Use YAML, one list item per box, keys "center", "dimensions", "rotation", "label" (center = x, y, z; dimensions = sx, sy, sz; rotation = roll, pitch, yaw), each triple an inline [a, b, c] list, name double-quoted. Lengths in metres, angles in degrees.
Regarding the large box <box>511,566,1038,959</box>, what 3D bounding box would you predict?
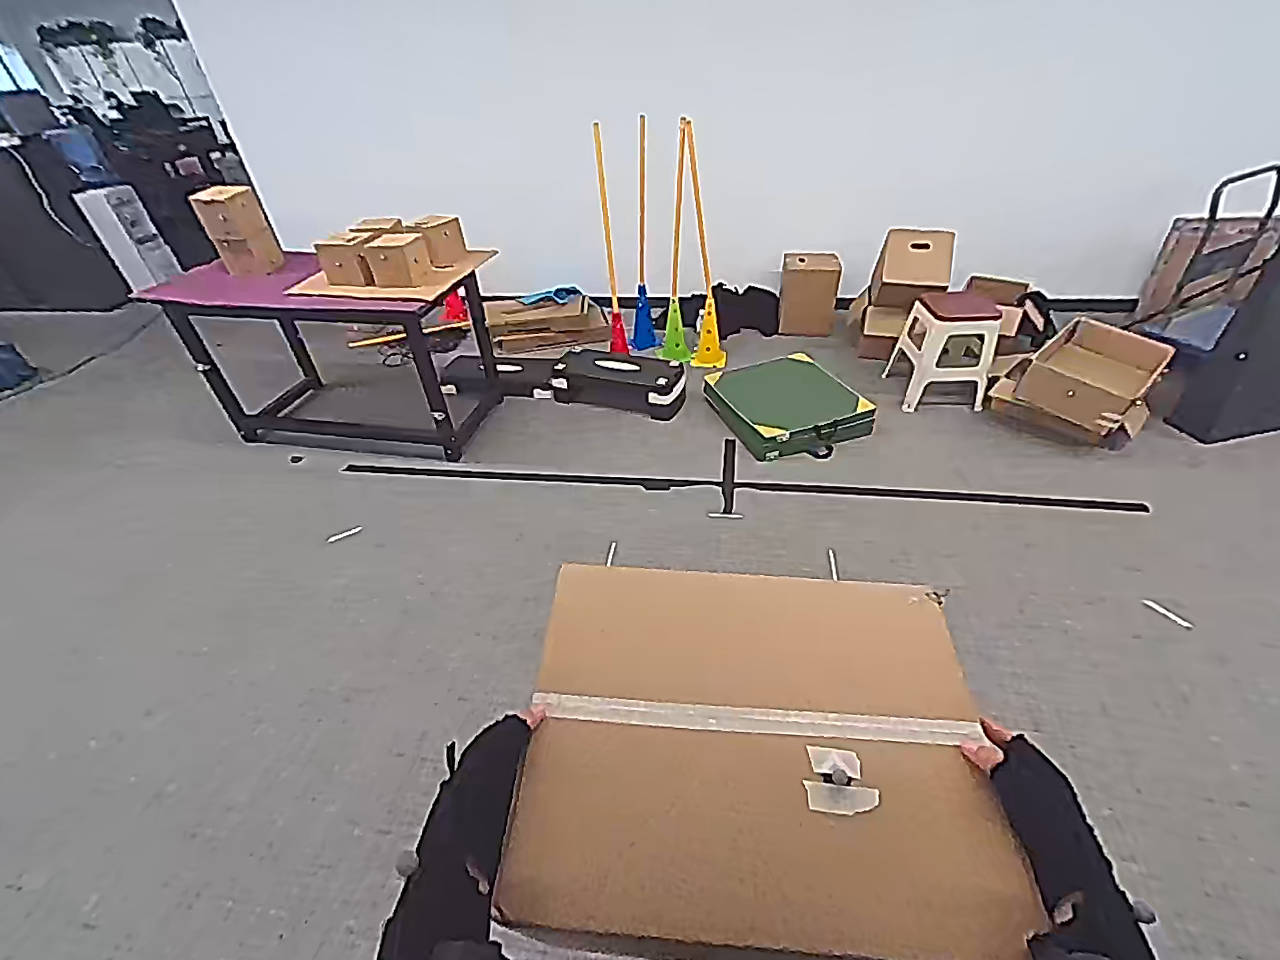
- center: [0.106, 0.320, 0.613]
  dimensions: [0.408, 0.320, 0.320]
  rotation: [4, 48, 4]
  label: "large box"
